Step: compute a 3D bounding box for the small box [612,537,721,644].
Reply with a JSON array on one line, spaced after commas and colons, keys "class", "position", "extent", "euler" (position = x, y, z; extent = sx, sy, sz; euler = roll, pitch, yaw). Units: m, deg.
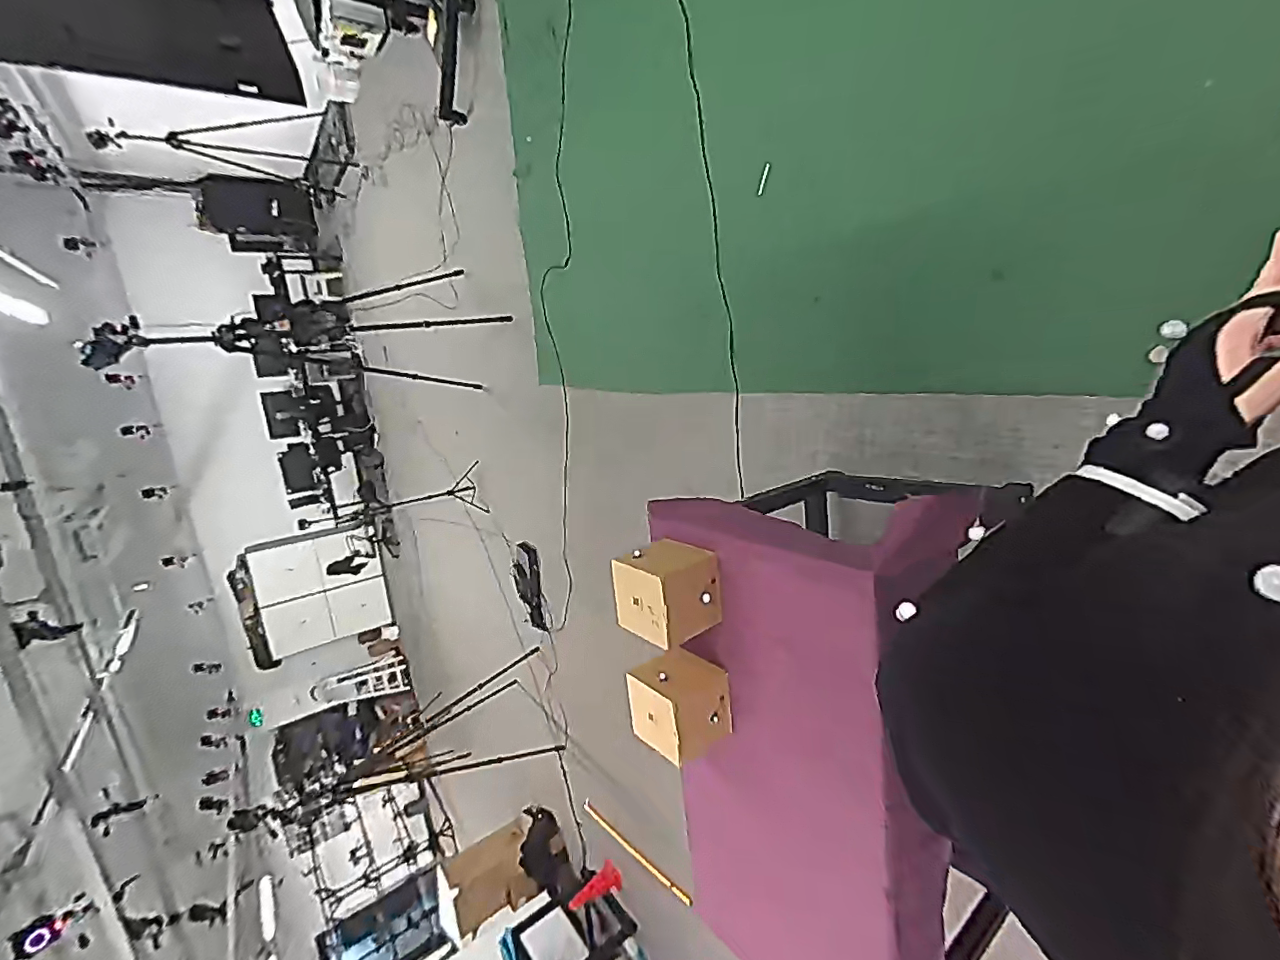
[{"class": "small box", "position": [0.060, 0.238, 1.219], "extent": [0.179, 0.176, 0.168], "euler": [11, 111, 49]}]

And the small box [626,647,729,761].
[{"class": "small box", "position": [0.090, 0.518, 1.286], "extent": [0.179, 0.176, 0.168], "euler": [8, 108, 52]}]

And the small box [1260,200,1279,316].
[{"class": "small box", "position": [0.480, -0.201, 0.274], "extent": [0.179, 0.168, 0.176], "euler": [12, 83, 39]}]
